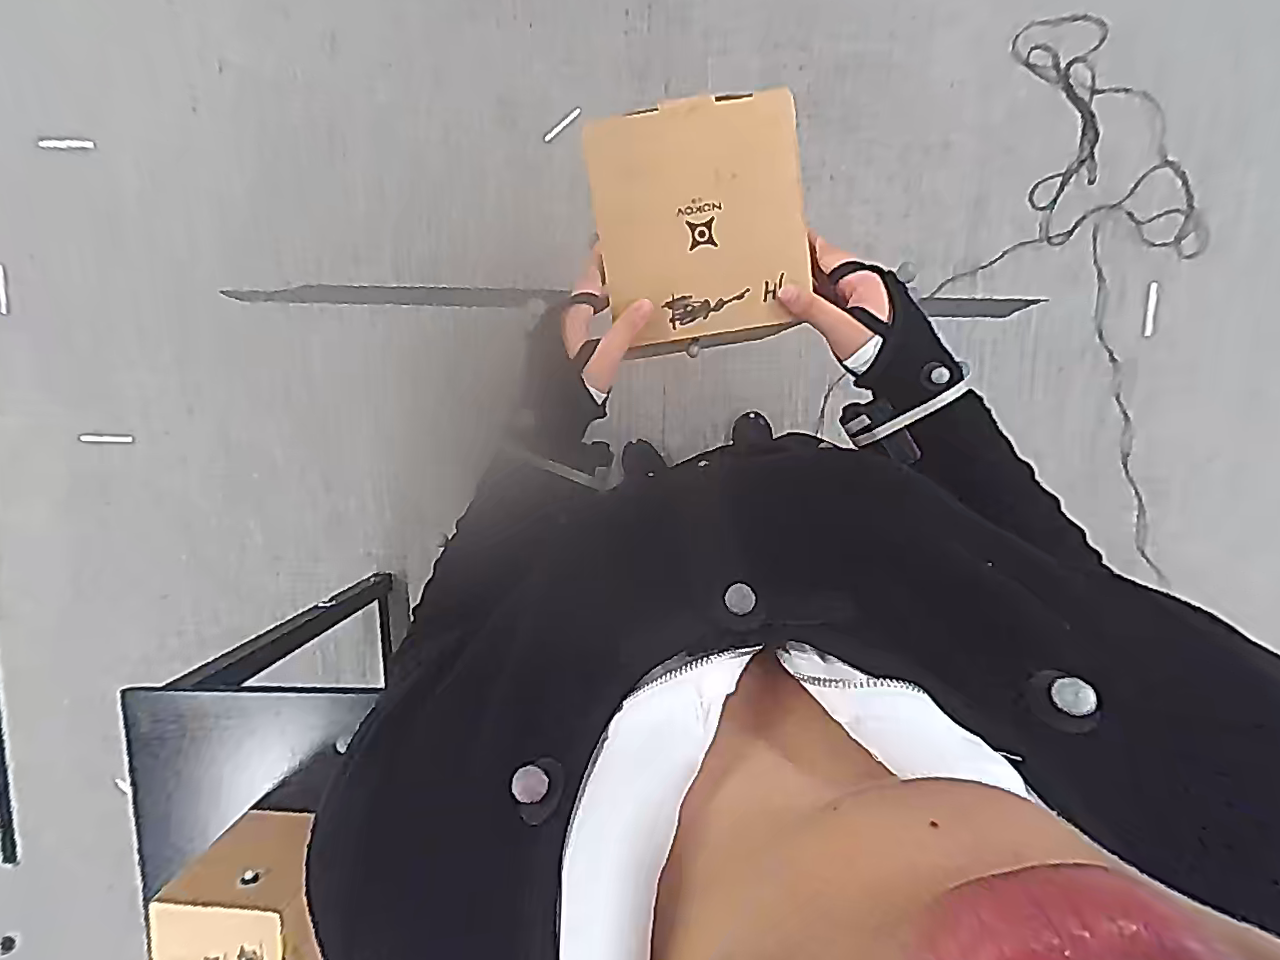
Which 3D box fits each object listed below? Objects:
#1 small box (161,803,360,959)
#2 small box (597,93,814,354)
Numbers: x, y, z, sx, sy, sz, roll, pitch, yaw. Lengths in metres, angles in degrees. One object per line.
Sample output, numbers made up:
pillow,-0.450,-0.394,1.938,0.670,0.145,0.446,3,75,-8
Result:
small box,-0.528,0.599,0.778,0.179,0.176,0.168,2,96,2
small box,0.054,-0.223,0.517,0.168,0.176,0.179,-7,100,1
